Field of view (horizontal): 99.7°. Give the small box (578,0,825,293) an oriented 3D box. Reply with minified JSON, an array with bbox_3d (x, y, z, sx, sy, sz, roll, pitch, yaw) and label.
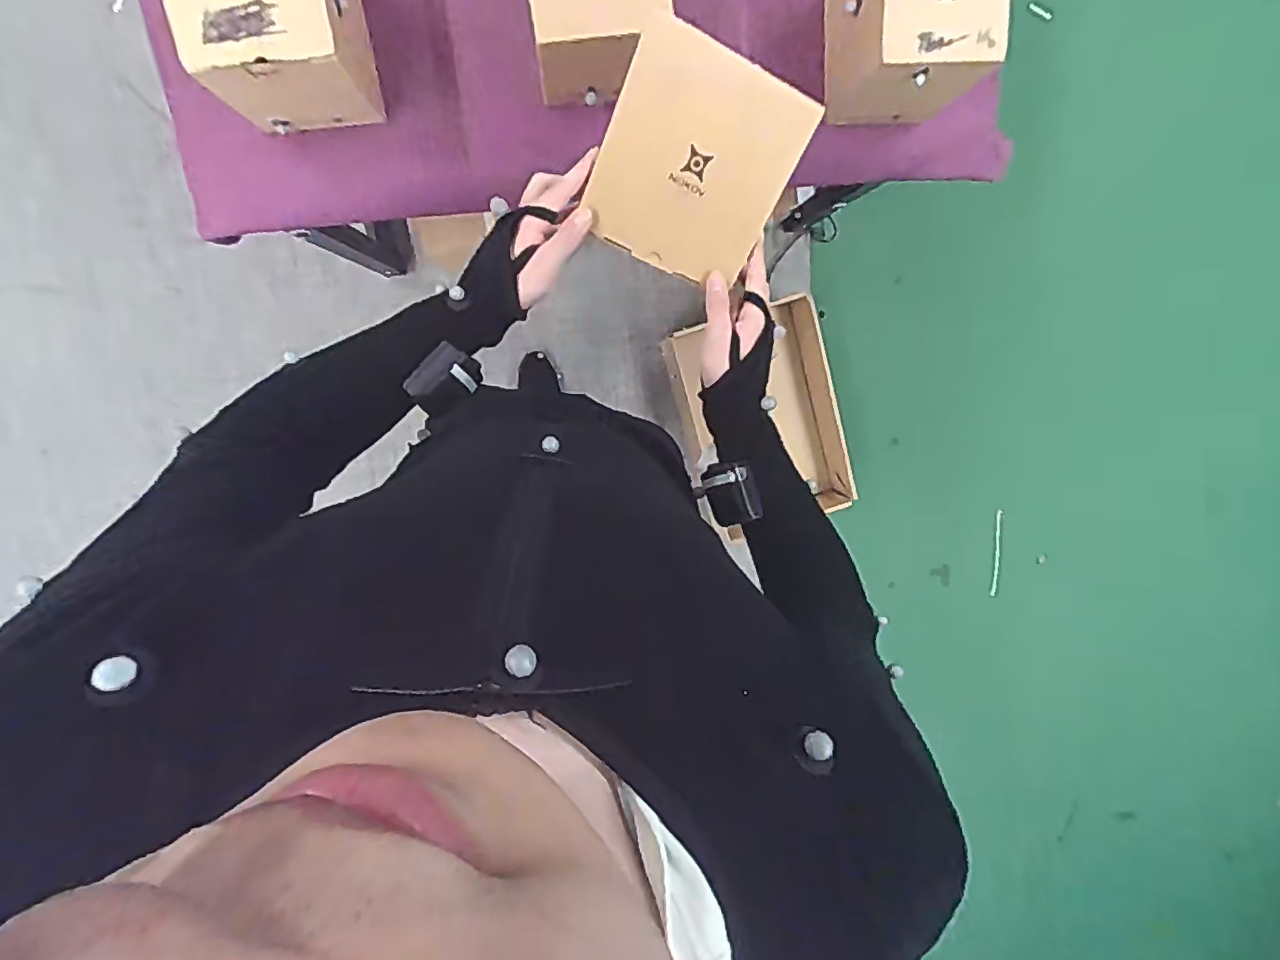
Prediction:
[{"bbox_3d":[0.046,-0.321,0.543,0.168,0.176,0.179,20,120,-14],"label":"small box"}]

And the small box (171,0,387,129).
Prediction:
[{"bbox_3d":[-0.432,-0.556,0.660,0.168,0.176,0.179,-9,101,-5],"label":"small box"}]

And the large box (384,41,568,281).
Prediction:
[{"bbox_3d":[-0.365,-0.735,1.312,0.320,0.320,0.408,-10,102,-5],"label":"large box"}]

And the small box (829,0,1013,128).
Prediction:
[{"bbox_3d":[0.370,-0.616,0.738,0.168,0.176,0.179,-5,100,-4],"label":"small box"}]

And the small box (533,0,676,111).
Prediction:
[{"bbox_3d":[-0.054,-0.615,0.693,0.168,0.176,0.179,-9,102,-4],"label":"small box"}]
